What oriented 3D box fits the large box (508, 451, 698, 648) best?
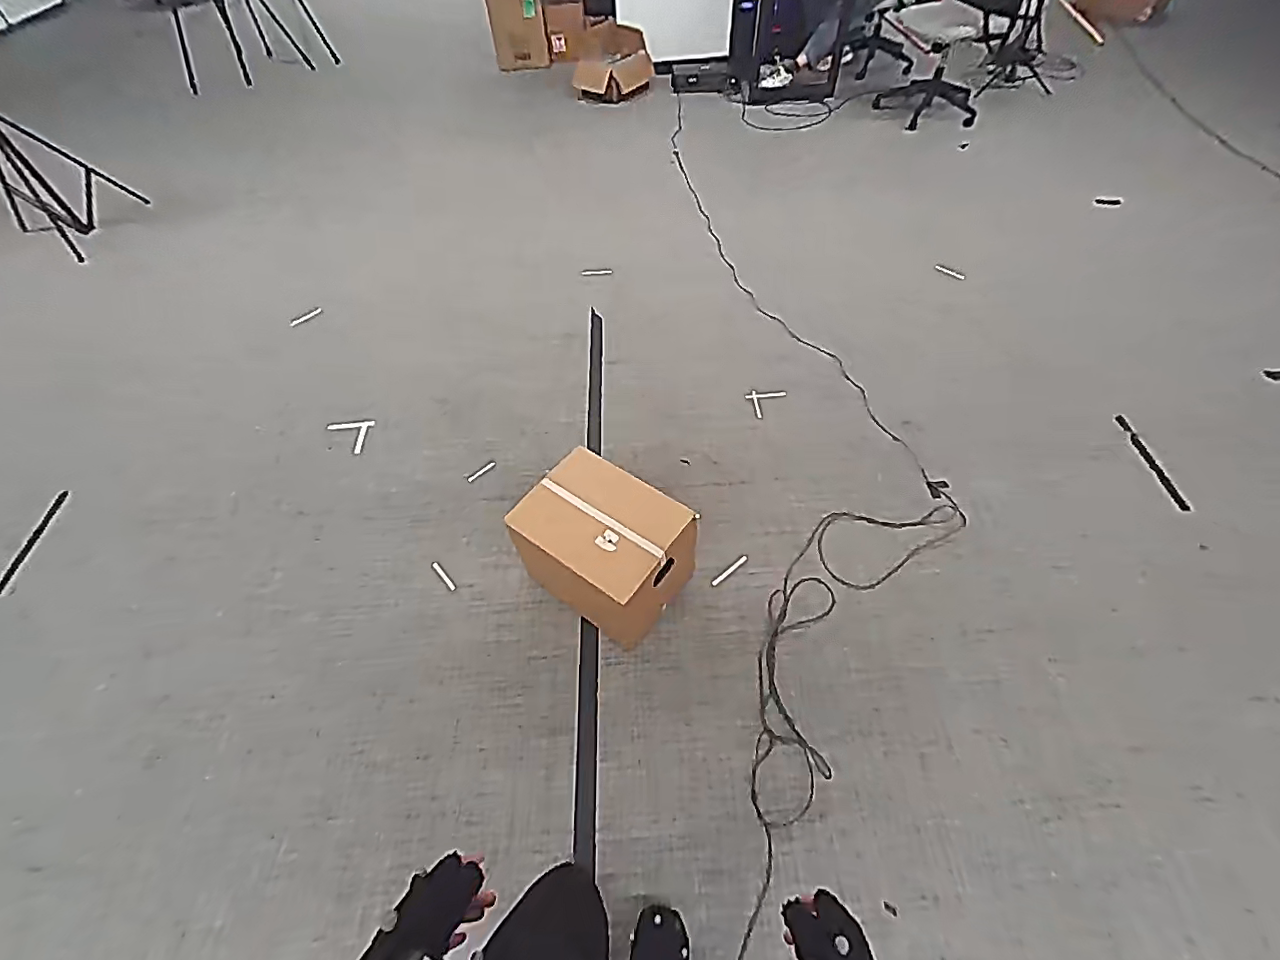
[{"bbox_3d":[-0.095,0.193,1.517,0.408,0.320,0.320,31,60,22],"label":"large box"}]
